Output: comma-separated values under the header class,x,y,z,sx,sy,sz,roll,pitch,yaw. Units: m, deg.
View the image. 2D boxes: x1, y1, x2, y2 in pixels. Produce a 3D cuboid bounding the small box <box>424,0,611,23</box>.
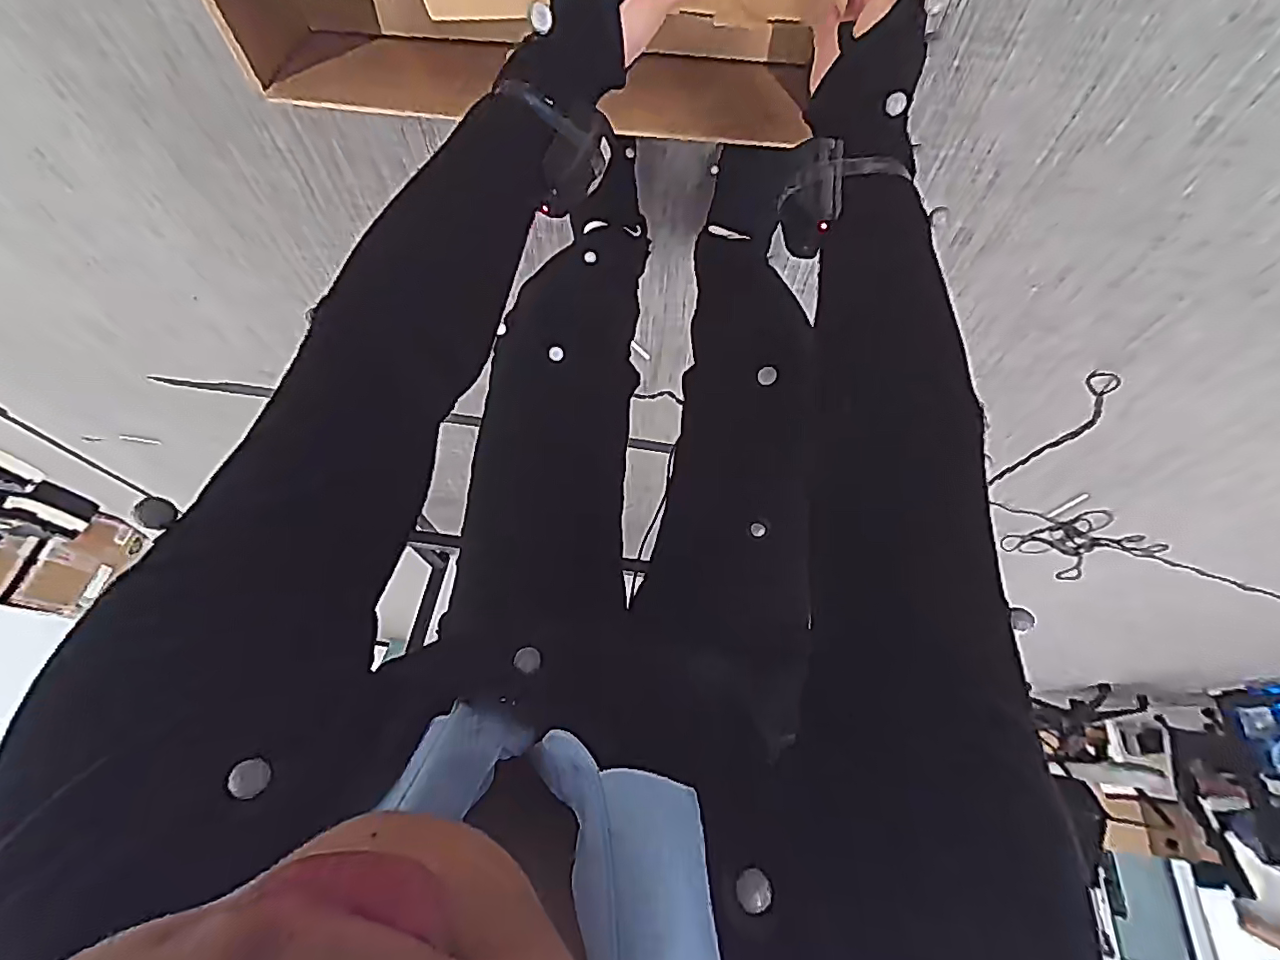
class,x,y,z,sx,sy,sz,roll,pitch,yaw
small box,-0.099,-0.509,0.429,0.168,0.176,0.179,4,152,6
